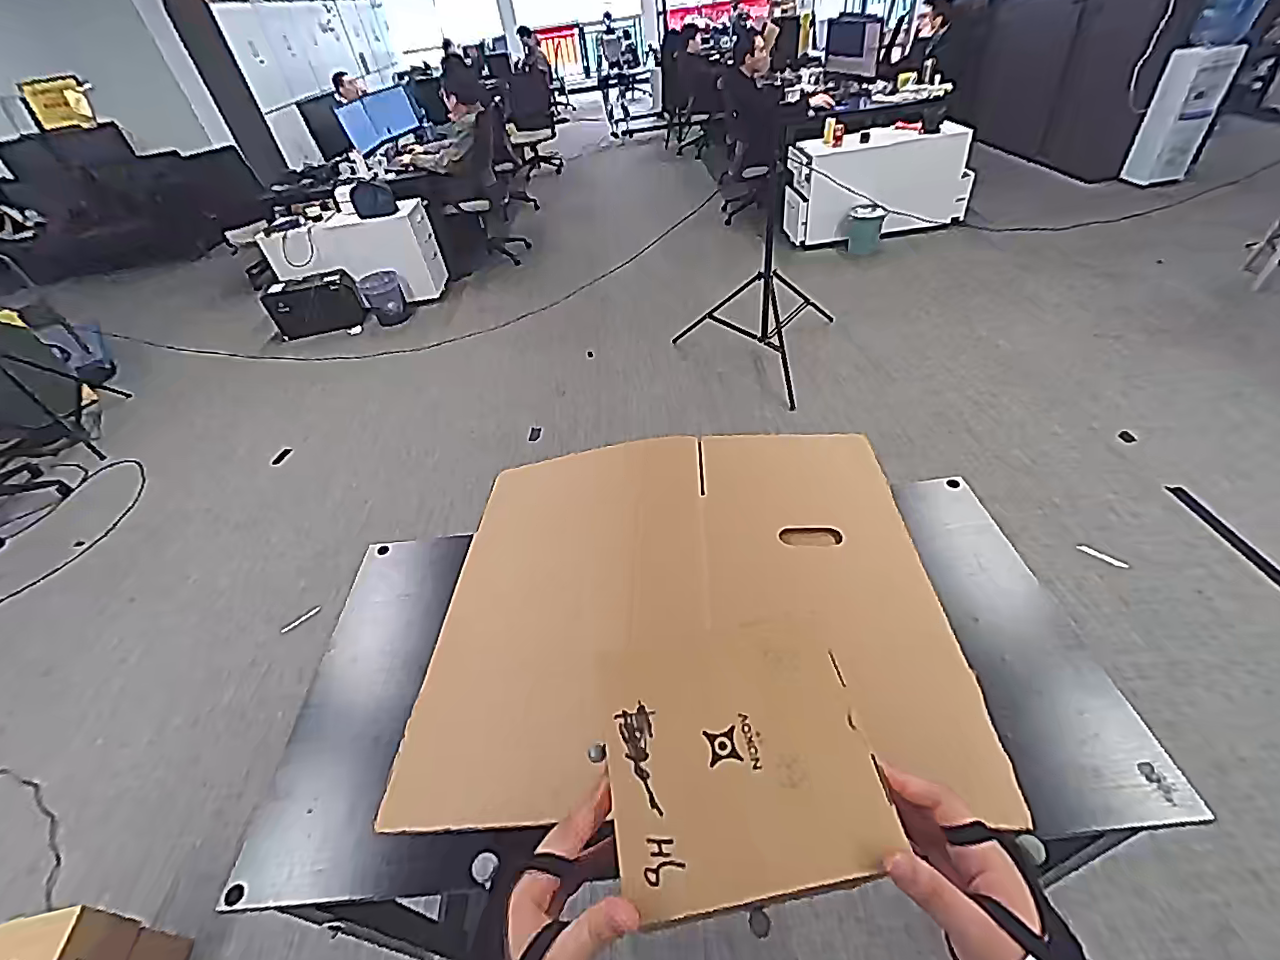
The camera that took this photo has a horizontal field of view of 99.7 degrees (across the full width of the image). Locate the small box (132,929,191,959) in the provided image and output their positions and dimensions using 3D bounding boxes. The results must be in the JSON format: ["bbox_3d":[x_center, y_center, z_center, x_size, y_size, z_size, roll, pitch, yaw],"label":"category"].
[{"bbox_3d":[-1.116,1.092,1.148,0.168,0.176,0.179,-10,42,-1],"label":"small box"}]

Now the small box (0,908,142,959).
[{"bbox_3d":[-1.136,0.968,1.044,0.168,0.176,0.179,-11,41,-3],"label":"small box"}]
